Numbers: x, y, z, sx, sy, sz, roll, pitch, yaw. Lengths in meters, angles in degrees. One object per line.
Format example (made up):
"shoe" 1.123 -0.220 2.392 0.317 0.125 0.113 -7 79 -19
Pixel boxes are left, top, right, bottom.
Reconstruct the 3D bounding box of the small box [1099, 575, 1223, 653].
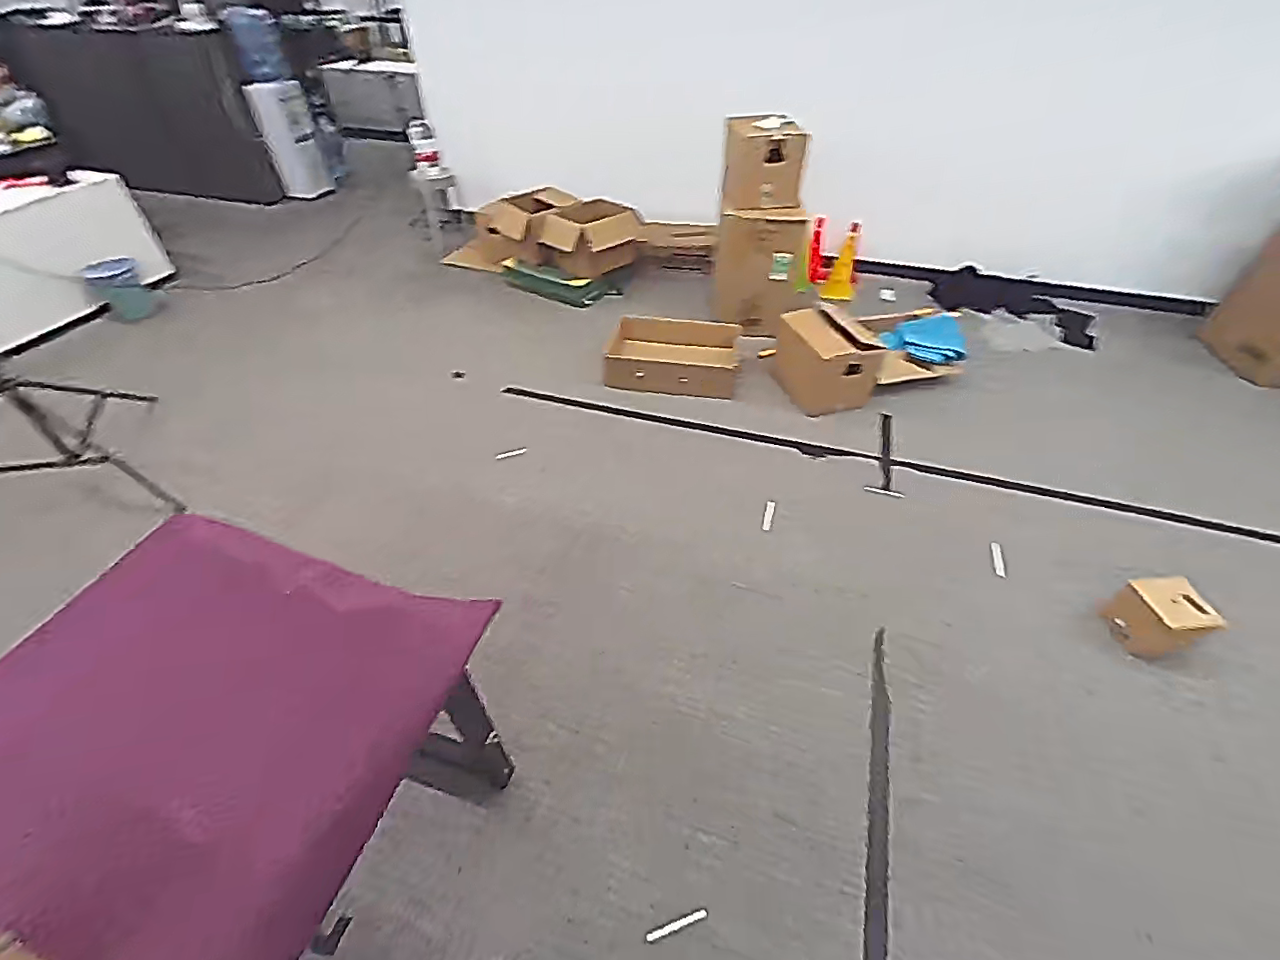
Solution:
"small box" 1.575 0.411 1.648 0.179 0.176 0.168 -4 44 -3
